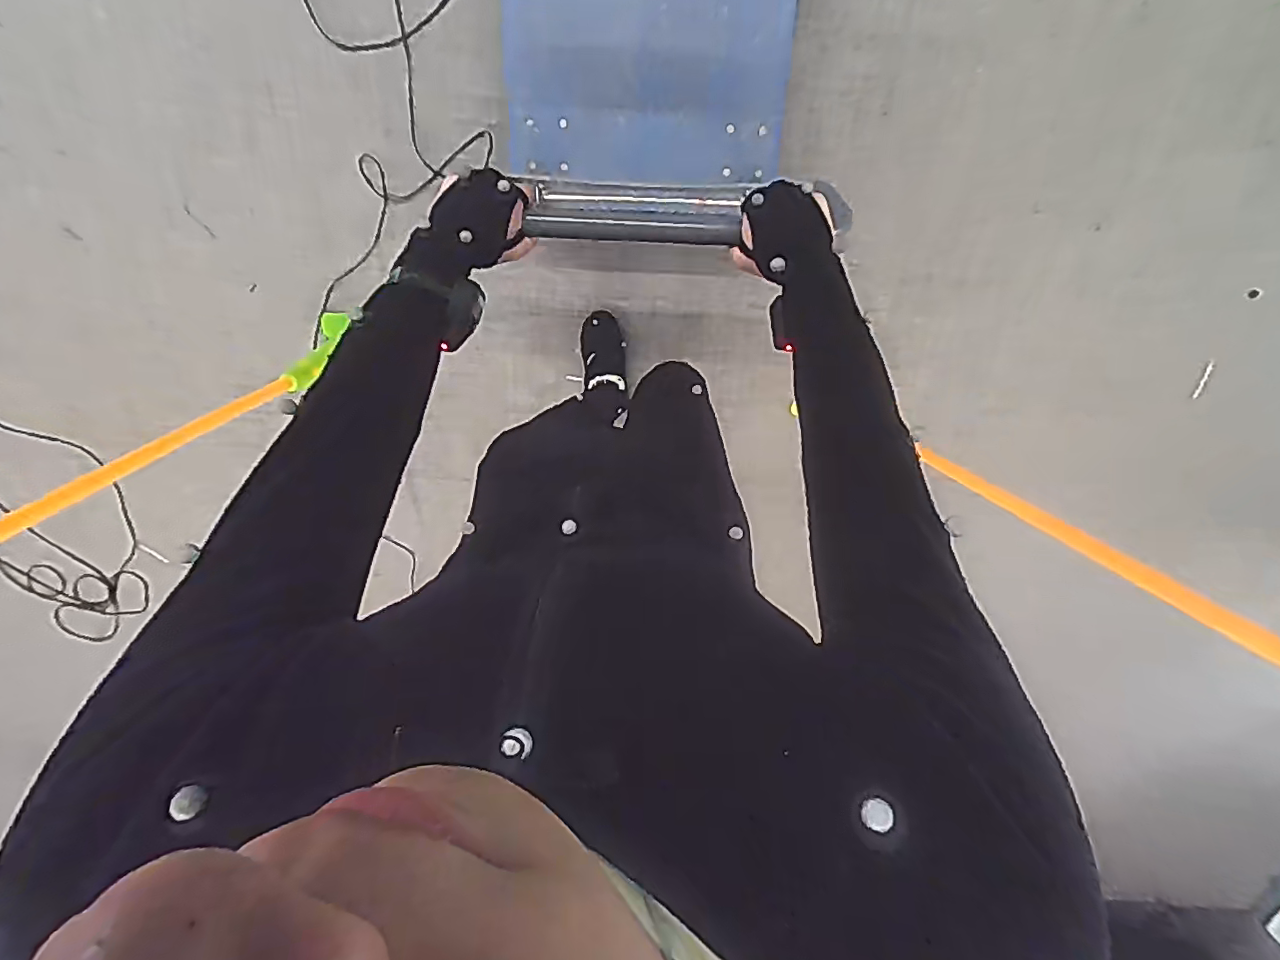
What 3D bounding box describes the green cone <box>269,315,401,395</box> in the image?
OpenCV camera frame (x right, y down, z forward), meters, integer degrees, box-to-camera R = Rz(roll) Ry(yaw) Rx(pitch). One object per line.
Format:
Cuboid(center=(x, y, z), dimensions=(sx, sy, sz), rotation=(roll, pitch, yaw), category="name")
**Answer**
Cuboid(center=(-0.774, -0.281, 1.332), dimensions=(0.202, 0.368, 0.200), rotation=(1, 114, 2), category="green cone")
